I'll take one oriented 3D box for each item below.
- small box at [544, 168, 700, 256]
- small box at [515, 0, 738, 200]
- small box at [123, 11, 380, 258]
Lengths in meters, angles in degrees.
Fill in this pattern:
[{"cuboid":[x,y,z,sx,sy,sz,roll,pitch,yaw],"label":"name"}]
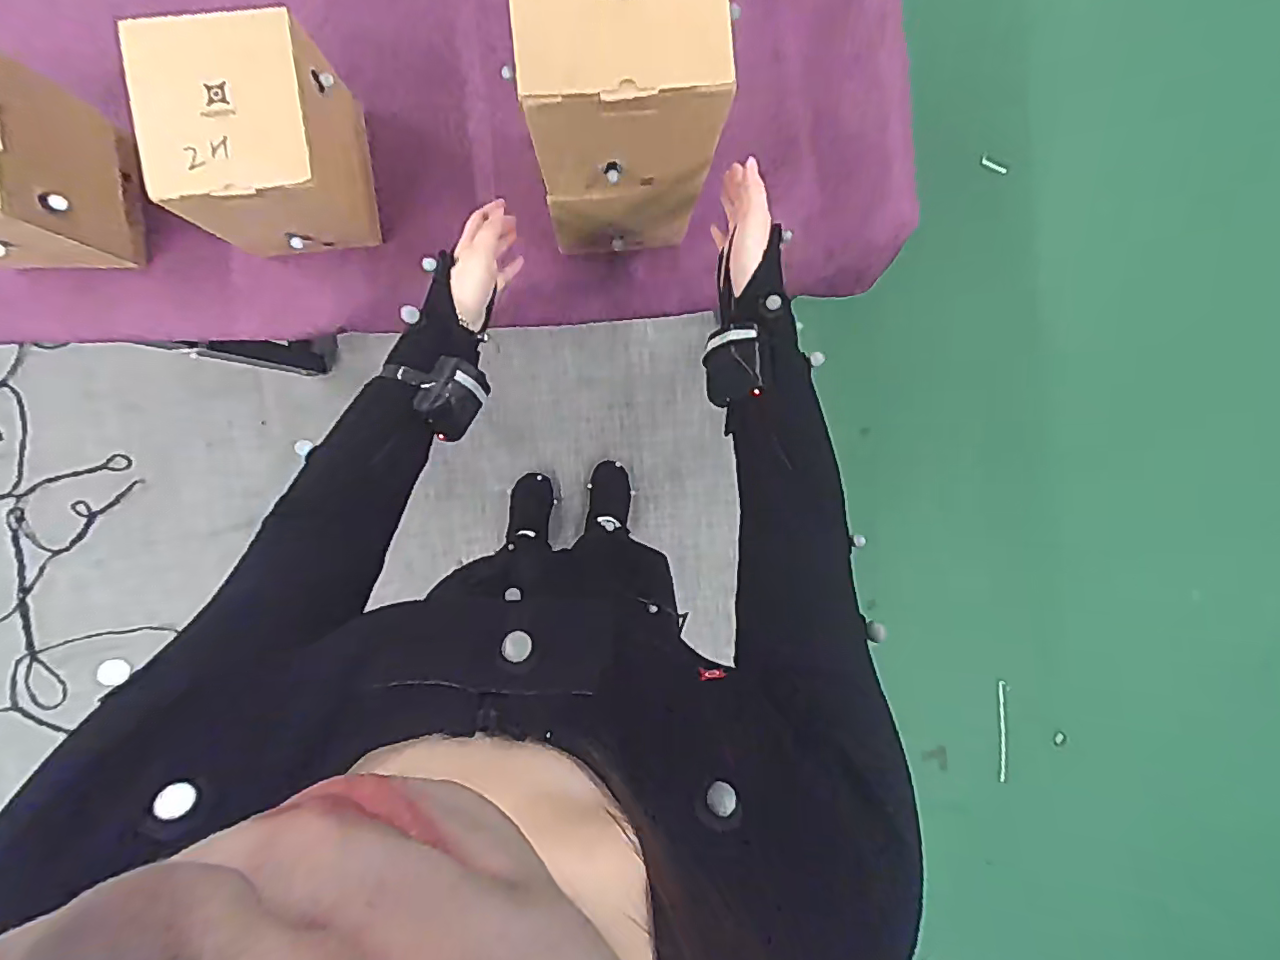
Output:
[{"cuboid":[-0.028,-0.387,0.643,0.168,0.176,0.179,-5,95,-3],"label":"small box"},{"cuboid":[-0.018,-0.379,0.481,0.168,0.176,0.179,-6,95,-3],"label":"small box"},{"cuboid":[-0.423,-0.377,0.619,0.168,0.176,0.179,-7,94,-2],"label":"small box"}]
